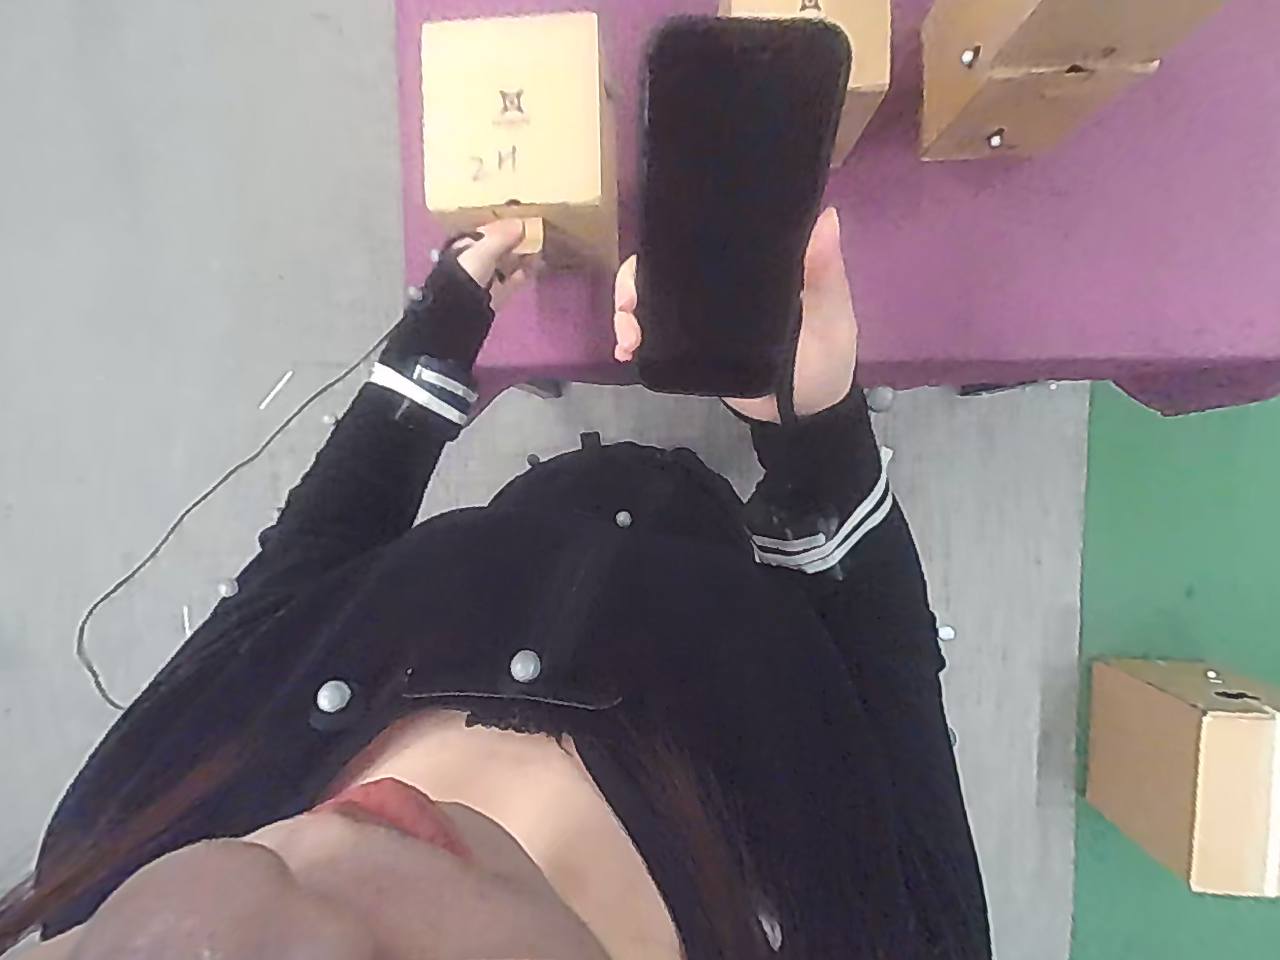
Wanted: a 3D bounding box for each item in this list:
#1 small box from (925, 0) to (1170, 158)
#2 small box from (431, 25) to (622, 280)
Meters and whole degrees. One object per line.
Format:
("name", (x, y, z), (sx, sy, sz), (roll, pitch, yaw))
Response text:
("small box", (0.449, -0.504, 0.621), (0.168, 0.176, 0.179), (-1, 94, 3))
("small box", (-0.110, -0.334, 0.583), (0.168, 0.176, 0.179), (-1, 90, 4))
